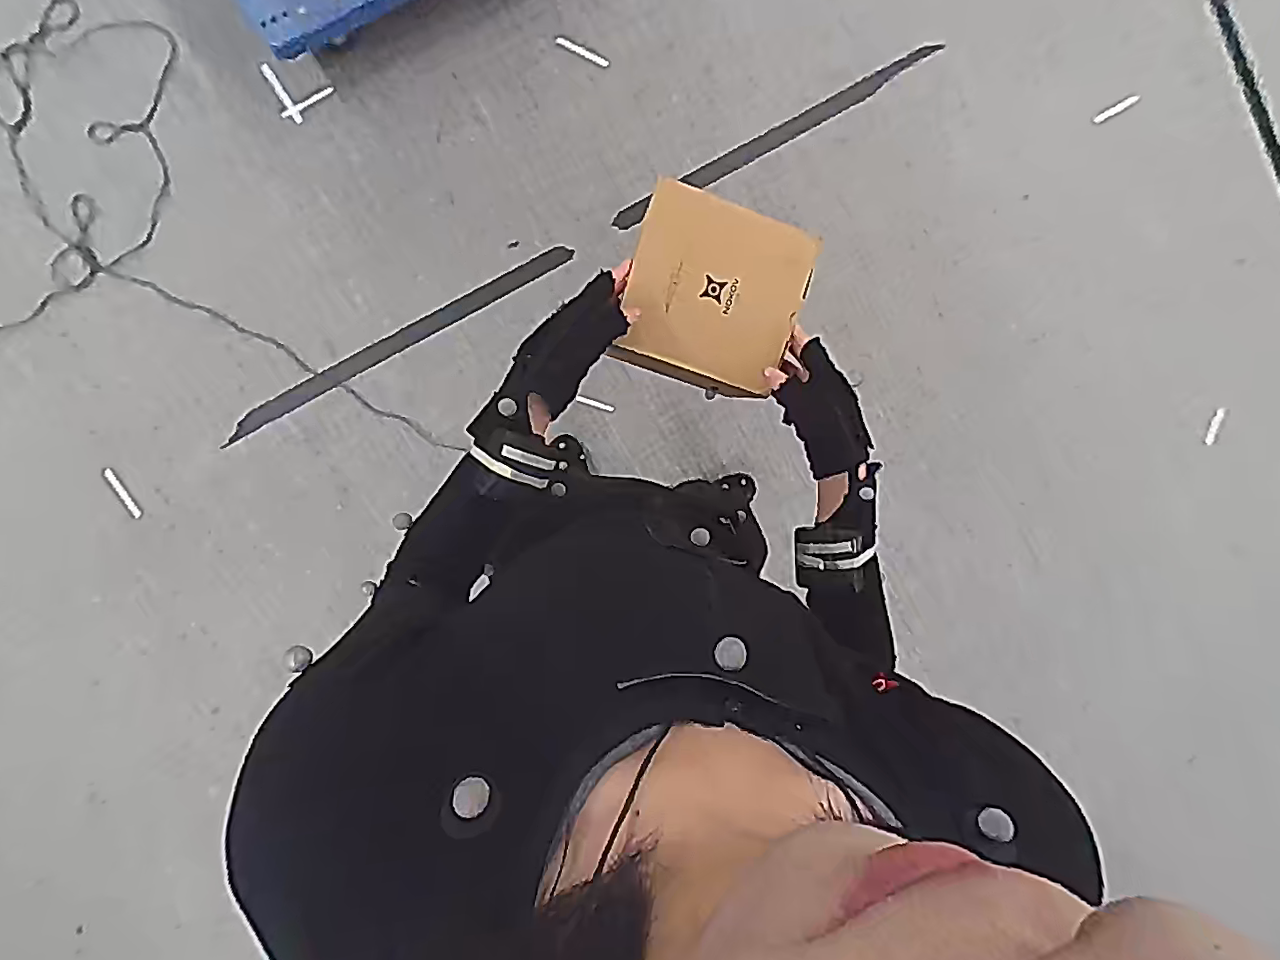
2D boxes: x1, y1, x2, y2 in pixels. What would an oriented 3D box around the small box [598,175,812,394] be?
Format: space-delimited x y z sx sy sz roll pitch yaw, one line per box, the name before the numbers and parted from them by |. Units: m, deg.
small box | 0.058 -0.200 0.609 0.179 0.176 0.168 16 95 -8
